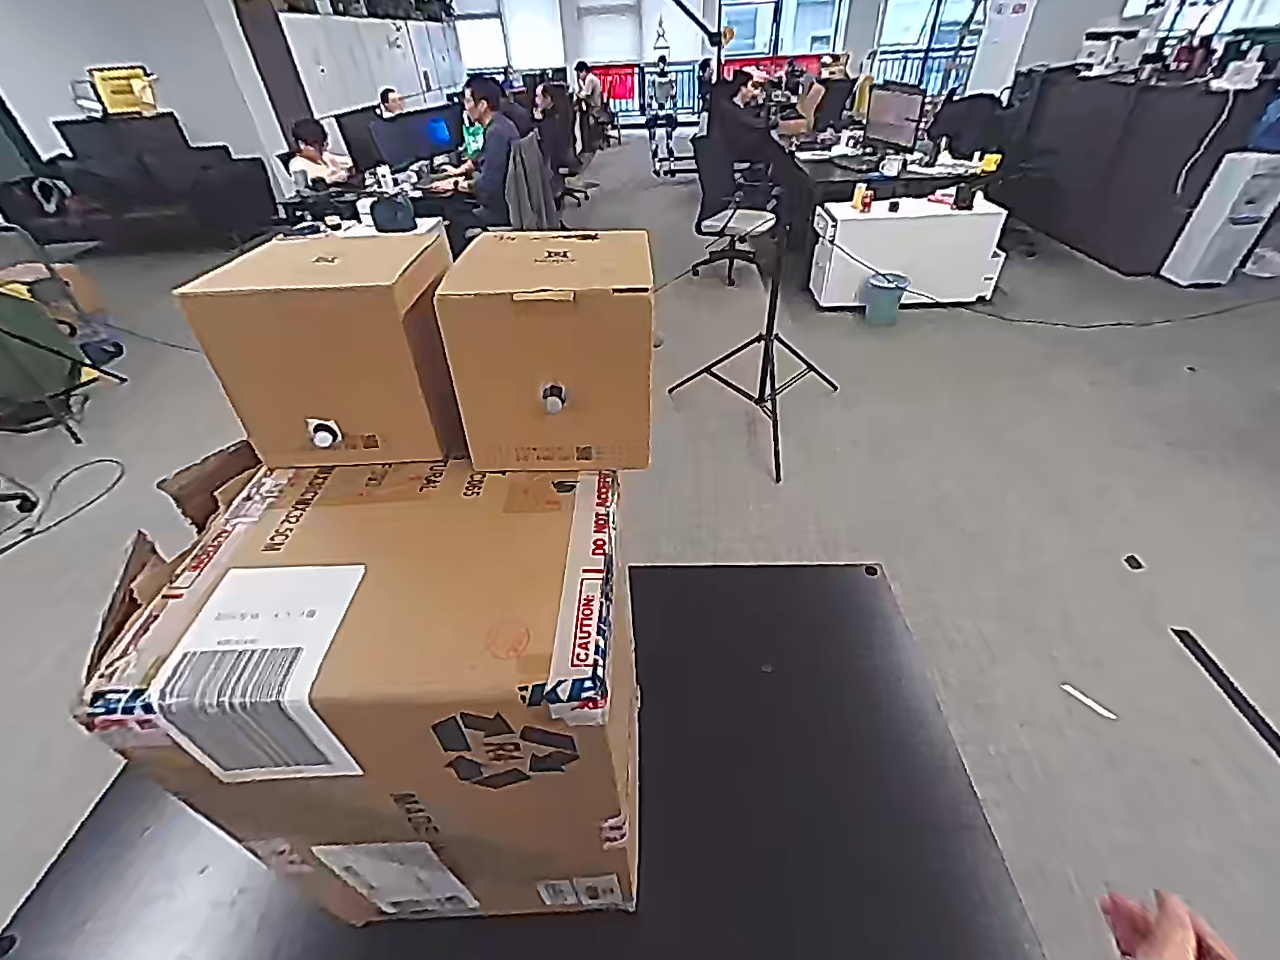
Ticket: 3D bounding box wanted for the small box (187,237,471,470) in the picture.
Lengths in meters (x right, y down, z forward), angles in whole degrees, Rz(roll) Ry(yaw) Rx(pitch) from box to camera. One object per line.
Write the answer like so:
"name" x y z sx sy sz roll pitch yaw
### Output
"small box" -0.274 -0.128 0.533 0.168 0.176 0.179 -5 38 -3
